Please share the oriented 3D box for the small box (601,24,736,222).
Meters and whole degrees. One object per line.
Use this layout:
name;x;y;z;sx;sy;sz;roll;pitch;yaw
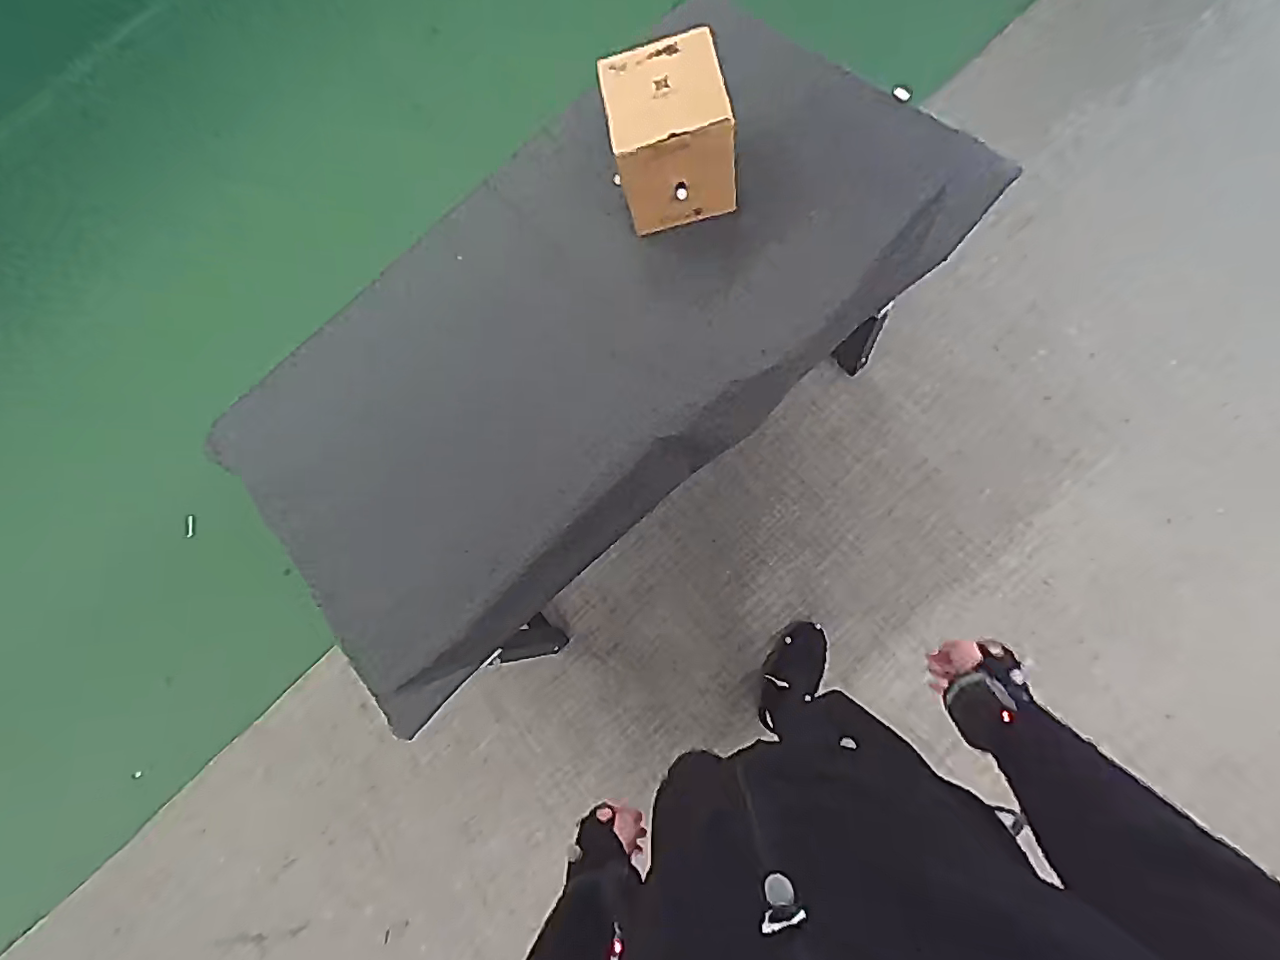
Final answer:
small box;0.050;-0.523;0.823;0.168;0.176;0.179;-11;75;8
